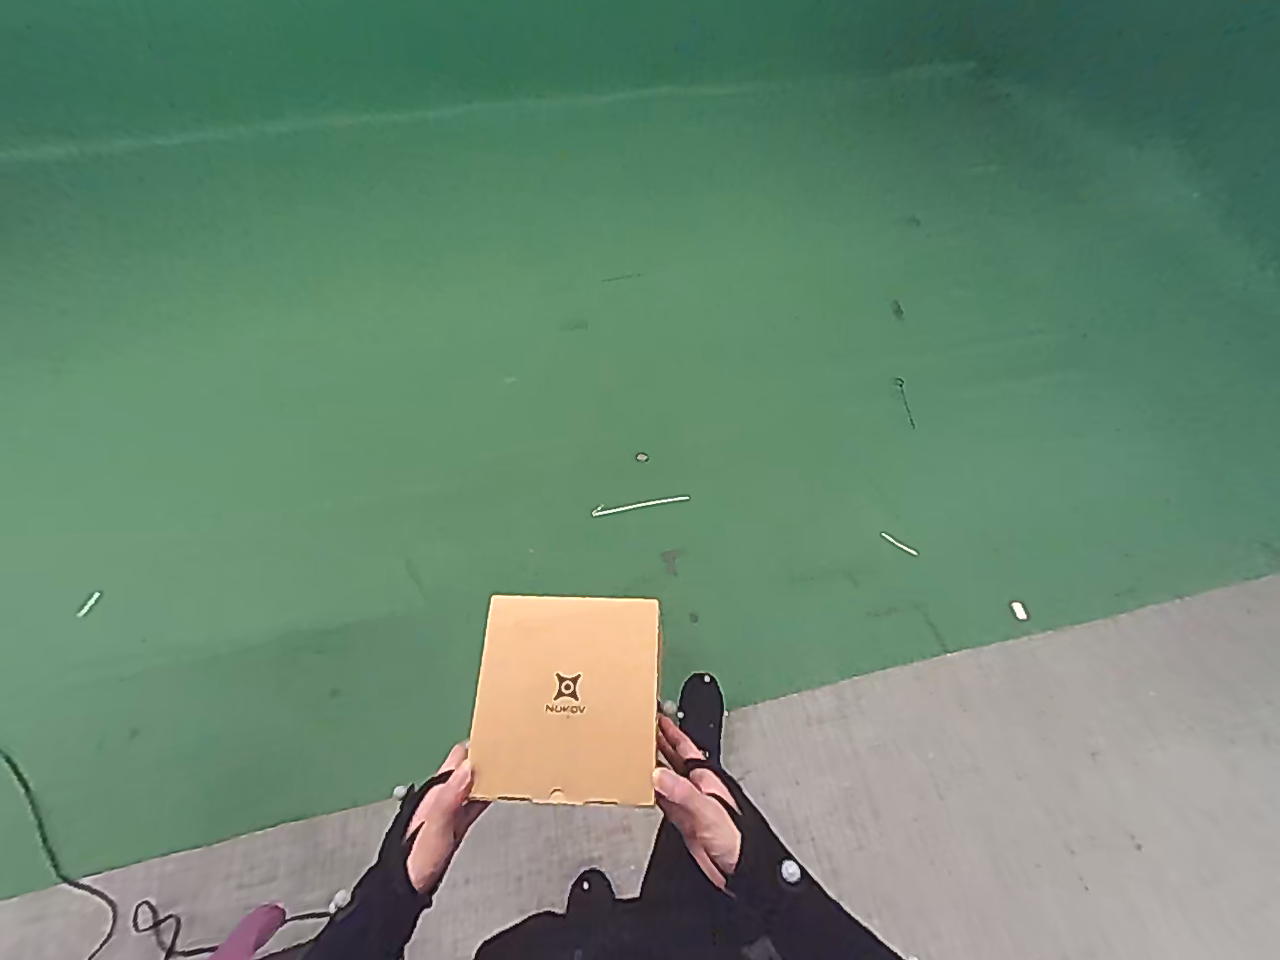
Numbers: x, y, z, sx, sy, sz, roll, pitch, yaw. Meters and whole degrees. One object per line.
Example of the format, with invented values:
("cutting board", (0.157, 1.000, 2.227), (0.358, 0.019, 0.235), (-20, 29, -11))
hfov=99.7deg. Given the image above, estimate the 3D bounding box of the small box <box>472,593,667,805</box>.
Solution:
("small box", (-0.058, 0.223, 0.561), (0.168, 0.176, 0.179), (1, 66, 2))
